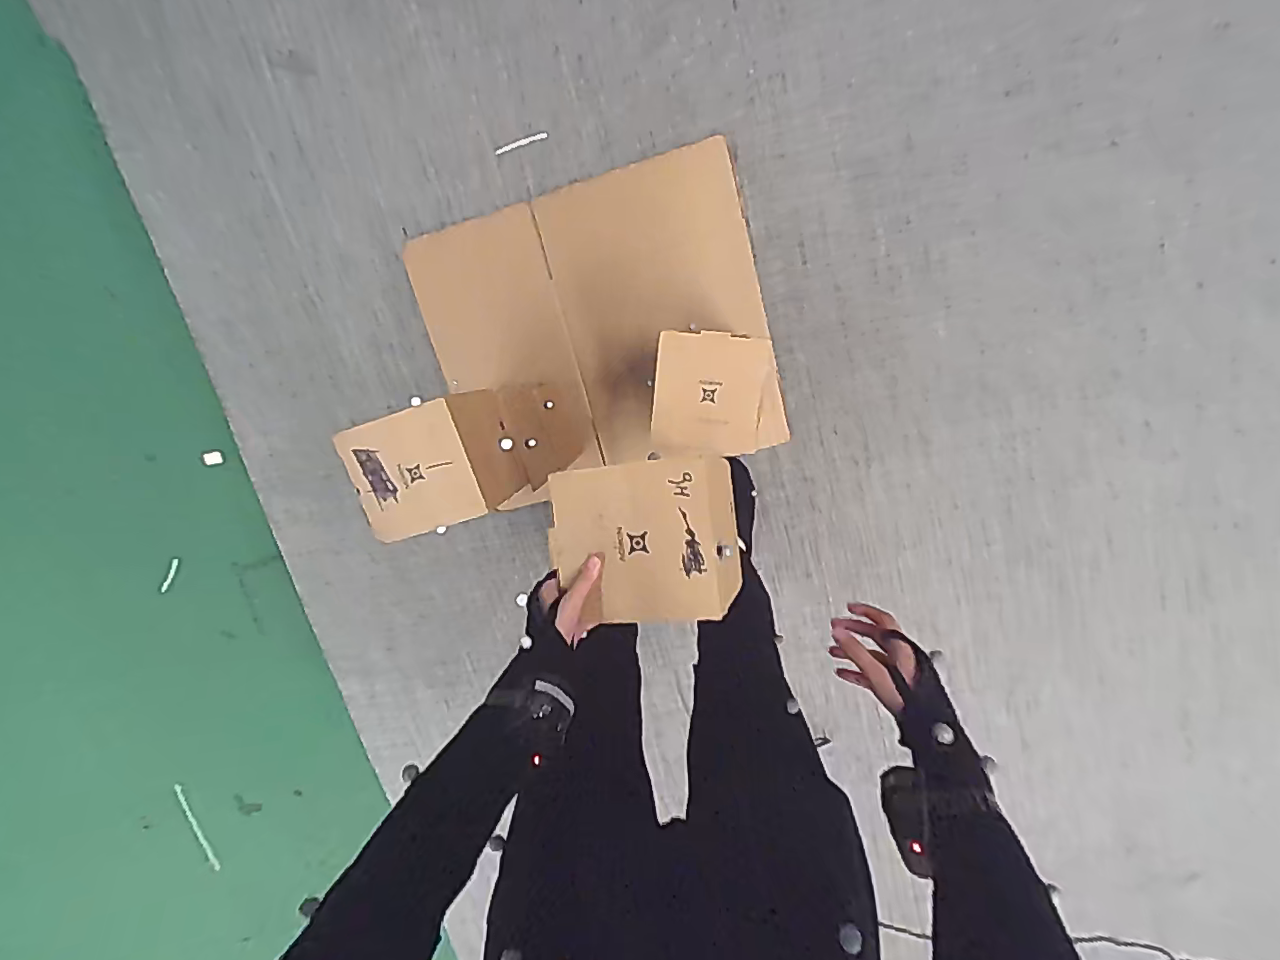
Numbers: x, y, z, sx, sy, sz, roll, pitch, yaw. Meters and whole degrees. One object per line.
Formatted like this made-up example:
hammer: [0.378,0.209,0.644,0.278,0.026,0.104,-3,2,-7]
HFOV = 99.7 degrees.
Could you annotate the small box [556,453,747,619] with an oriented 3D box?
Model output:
small box: [0.022,0.061,0.630,0.179,0.176,0.168,-6,89,18]

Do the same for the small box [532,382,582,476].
small box: [-0.231,-0.094,1.111,0.168,0.176,0.179,-15,101,10]

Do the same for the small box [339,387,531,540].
small box: [-0.286,-0.031,0.792,0.179,0.176,0.168,-16,101,10]

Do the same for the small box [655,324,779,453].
small box: [0.119,-0.152,0.880,0.168,0.176,0.179,7,104,5]

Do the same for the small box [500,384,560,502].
small box: [-0.255,-0.061,0.951,0.168,0.176,0.179,-15,101,10]
